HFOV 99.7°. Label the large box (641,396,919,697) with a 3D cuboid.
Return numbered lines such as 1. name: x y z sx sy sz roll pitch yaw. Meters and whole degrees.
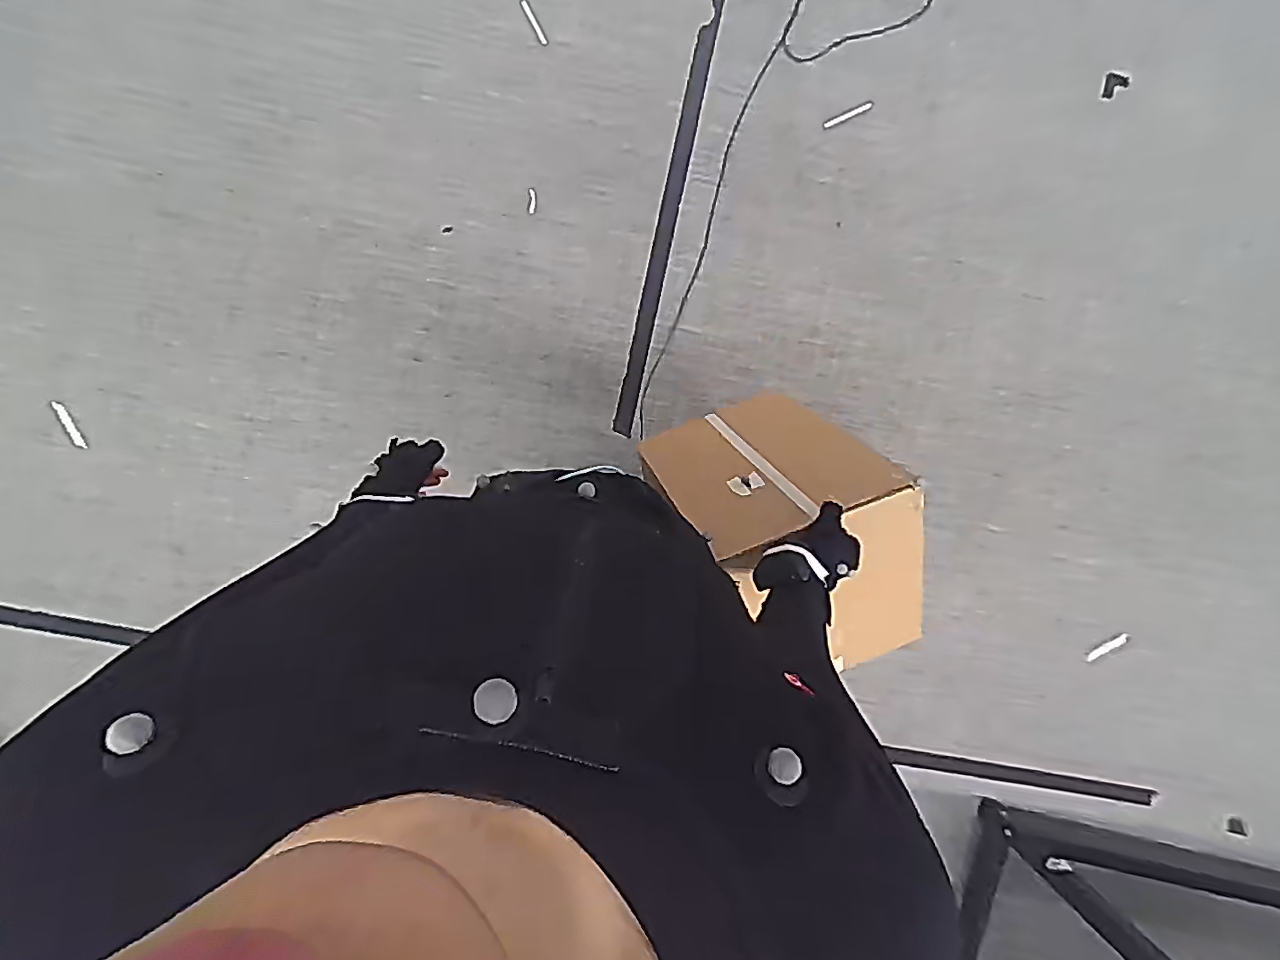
1. large box: 0.227 0.094 0.978 0.320 0.408 0.320 -20 122 -5
